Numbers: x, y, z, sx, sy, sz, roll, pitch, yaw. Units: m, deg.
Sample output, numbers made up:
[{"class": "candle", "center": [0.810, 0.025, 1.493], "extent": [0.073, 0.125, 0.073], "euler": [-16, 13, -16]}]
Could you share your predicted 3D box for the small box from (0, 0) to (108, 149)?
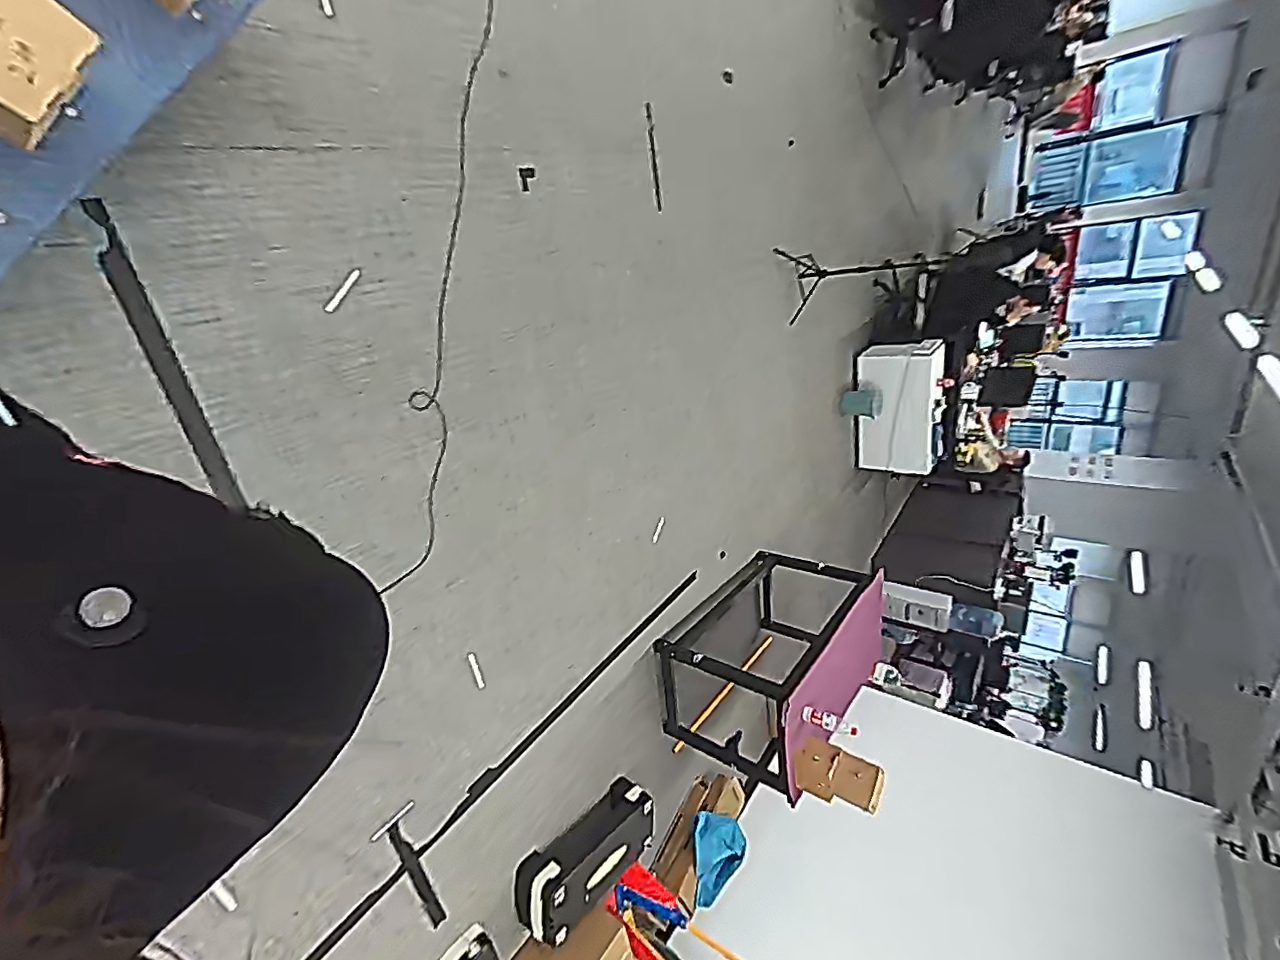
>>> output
[{"class": "small box", "center": [-0.913, -0.608, 0.756], "extent": [0.179, 0.176, 0.168], "euler": [36, 70, -49]}]

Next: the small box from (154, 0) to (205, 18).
[{"class": "small box", "center": [-0.764, -0.914, 0.878], "extent": [0.168, 0.176, 0.179], "euler": [44, 65, -47]}]
